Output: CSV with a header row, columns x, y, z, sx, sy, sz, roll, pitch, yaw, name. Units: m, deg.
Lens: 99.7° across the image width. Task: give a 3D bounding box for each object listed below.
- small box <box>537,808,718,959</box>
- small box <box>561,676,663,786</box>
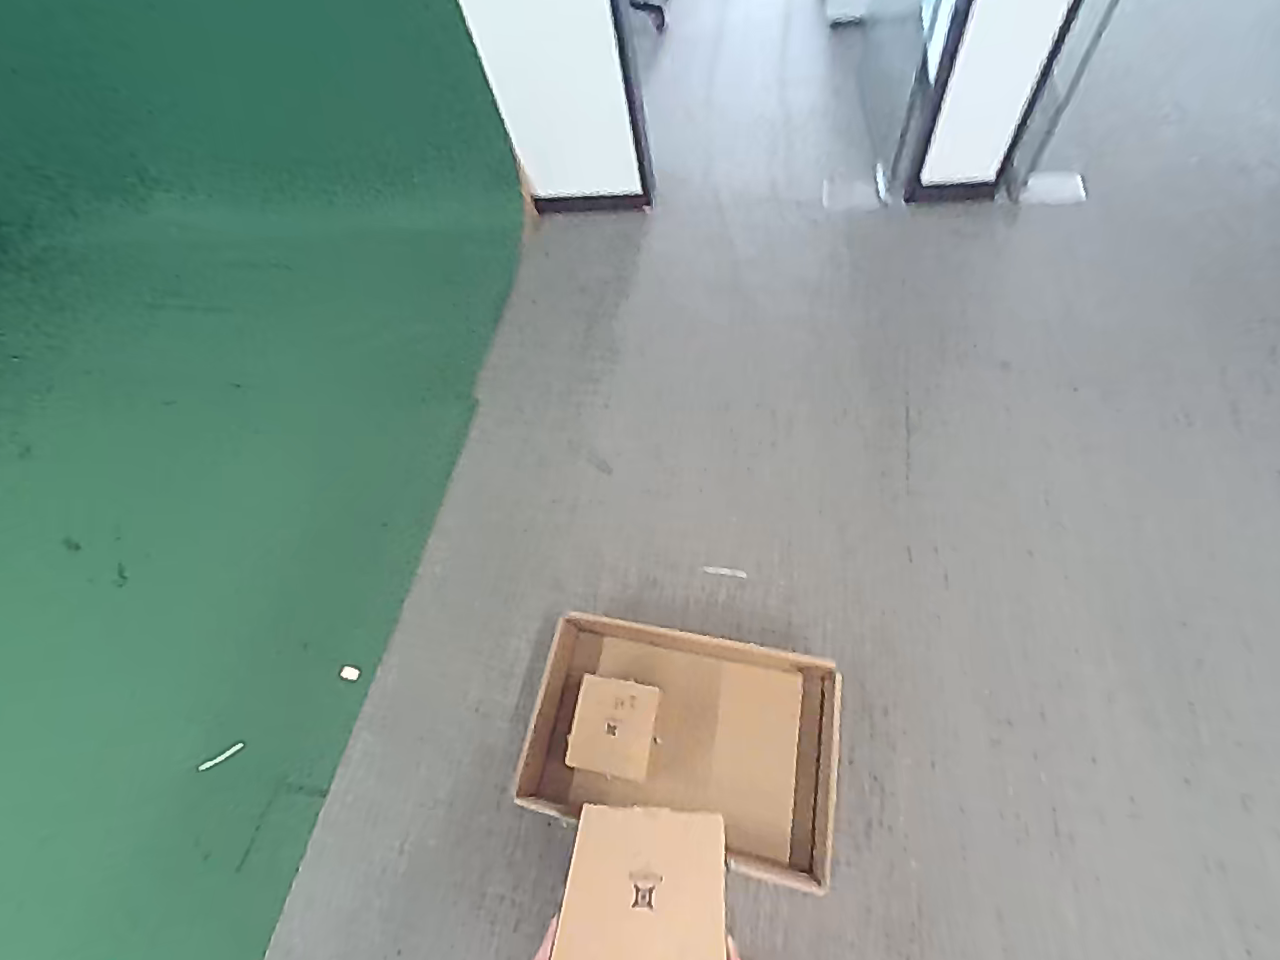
x,y,z,sx,sy,sz,roll,pitch,yaw,name
-0.002,0.488,0.573,0.168,0.176,0.179,-1,25,6,small box
-0.050,0.534,1.153,0.168,0.176,0.179,7,64,12,small box
